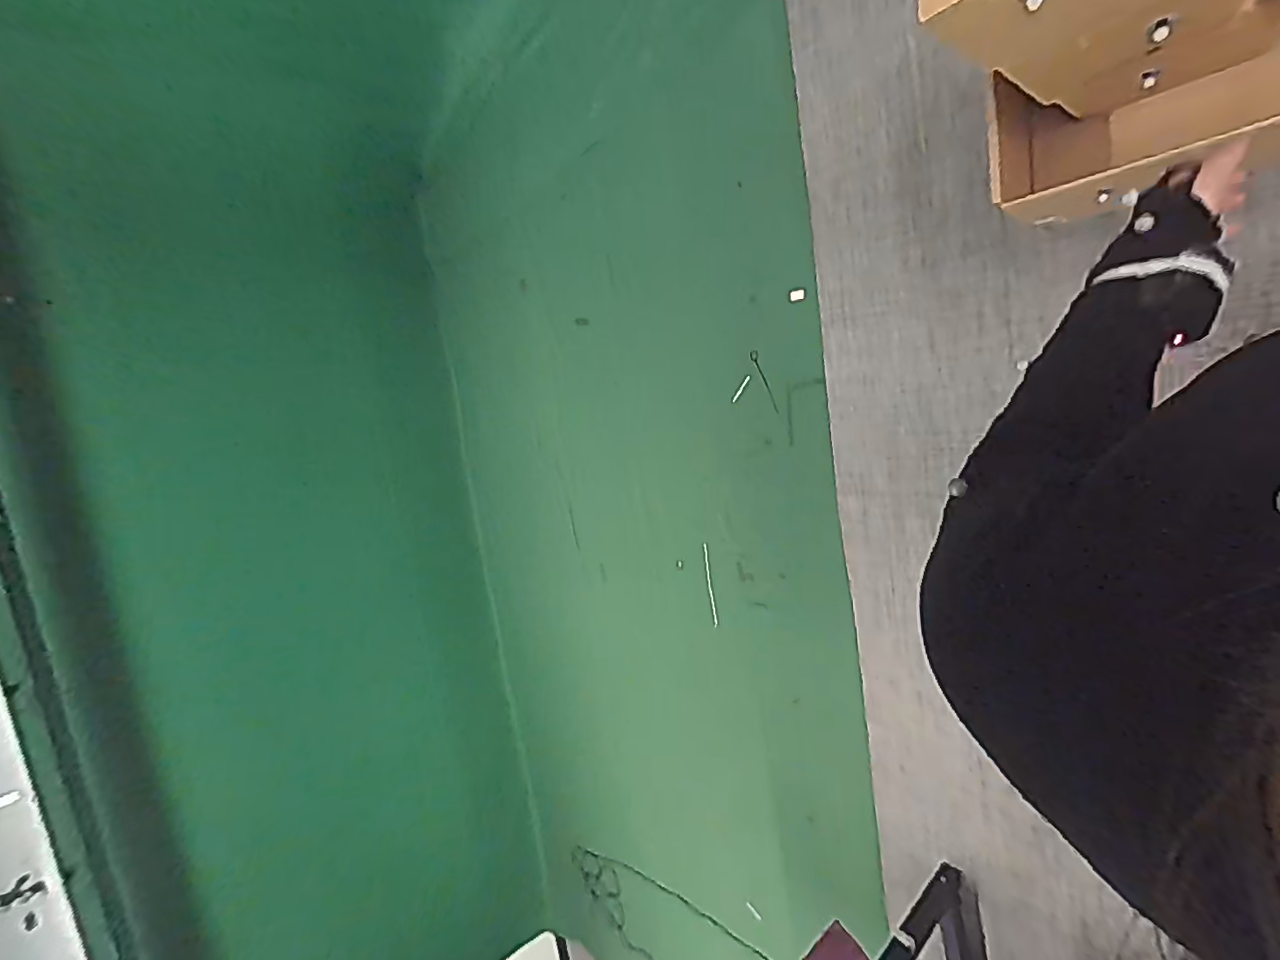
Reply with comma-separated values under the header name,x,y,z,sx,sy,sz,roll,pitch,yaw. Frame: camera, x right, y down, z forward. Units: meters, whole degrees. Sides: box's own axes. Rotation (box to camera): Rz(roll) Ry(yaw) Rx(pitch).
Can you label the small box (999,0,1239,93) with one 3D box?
name,x,y,z,sx,sy,sz,roll,pitch,yaw
small box,0.493,-0.538,0.559,0.168,0.176,0.179,3,103,52
